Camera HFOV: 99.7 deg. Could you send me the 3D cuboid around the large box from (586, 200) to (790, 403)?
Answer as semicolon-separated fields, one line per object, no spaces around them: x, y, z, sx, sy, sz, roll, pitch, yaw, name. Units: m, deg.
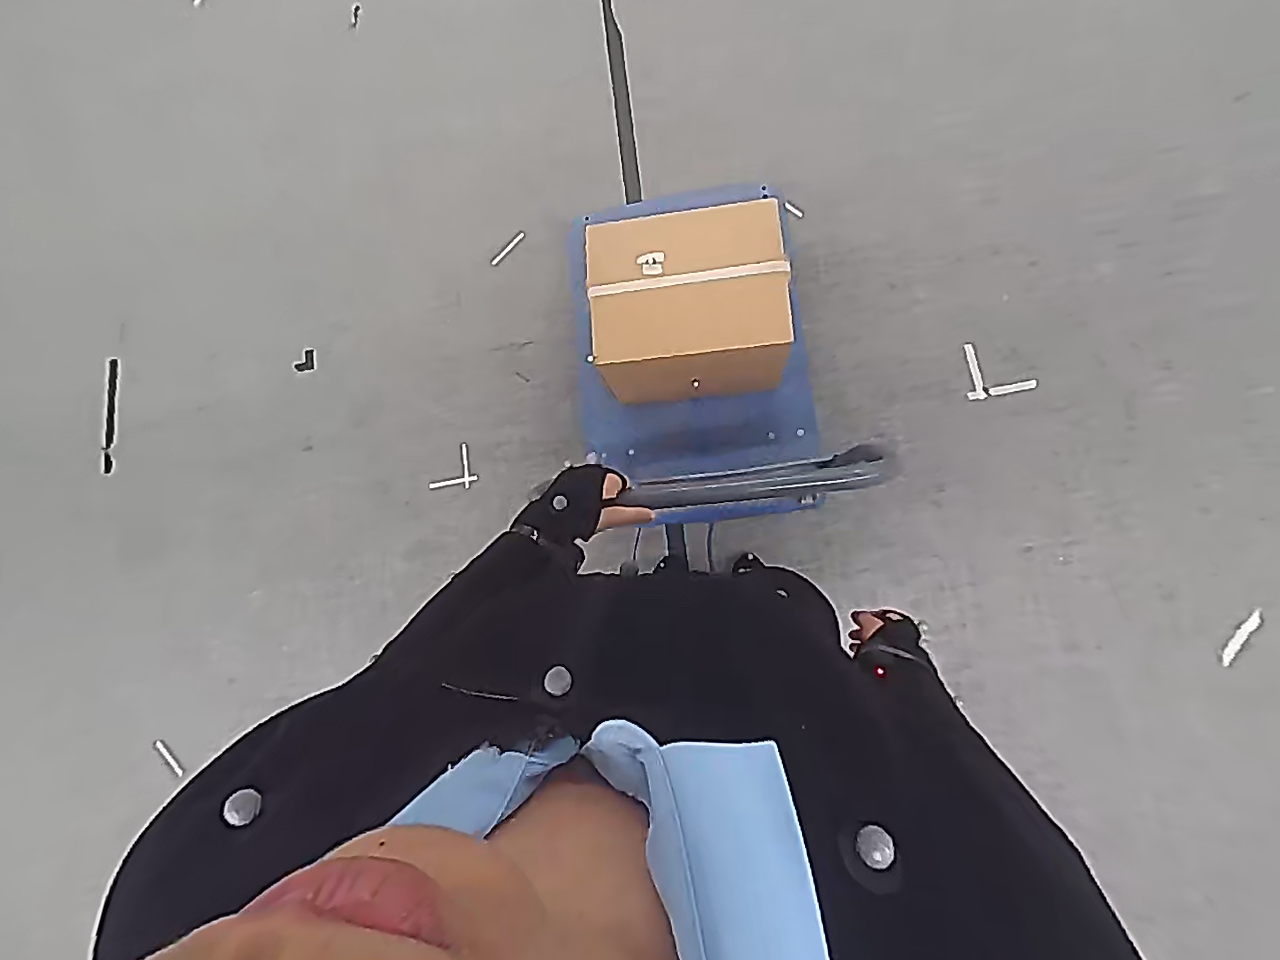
0.113;-0.387;1.262;0.408;0.320;0.320;-5;81;8;large box
